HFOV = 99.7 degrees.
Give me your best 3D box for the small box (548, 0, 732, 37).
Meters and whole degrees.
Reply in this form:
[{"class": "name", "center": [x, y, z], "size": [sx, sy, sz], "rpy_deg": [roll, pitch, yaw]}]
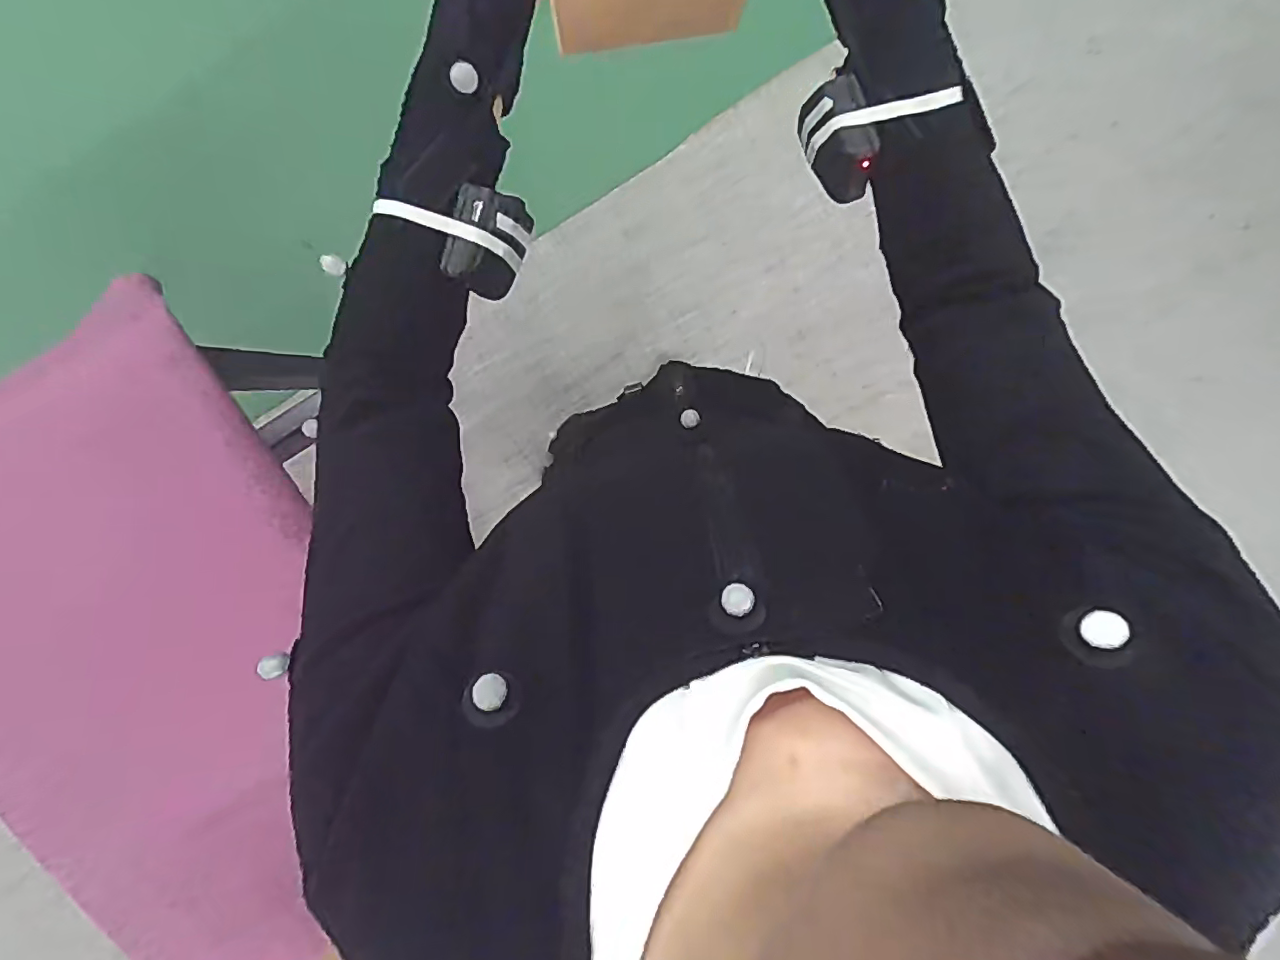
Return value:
[{"class": "small box", "center": [-0.002, -0.484, 0.414], "size": [0.179, 0.176, 0.168], "rpy_deg": [-10, 103, -2]}]
